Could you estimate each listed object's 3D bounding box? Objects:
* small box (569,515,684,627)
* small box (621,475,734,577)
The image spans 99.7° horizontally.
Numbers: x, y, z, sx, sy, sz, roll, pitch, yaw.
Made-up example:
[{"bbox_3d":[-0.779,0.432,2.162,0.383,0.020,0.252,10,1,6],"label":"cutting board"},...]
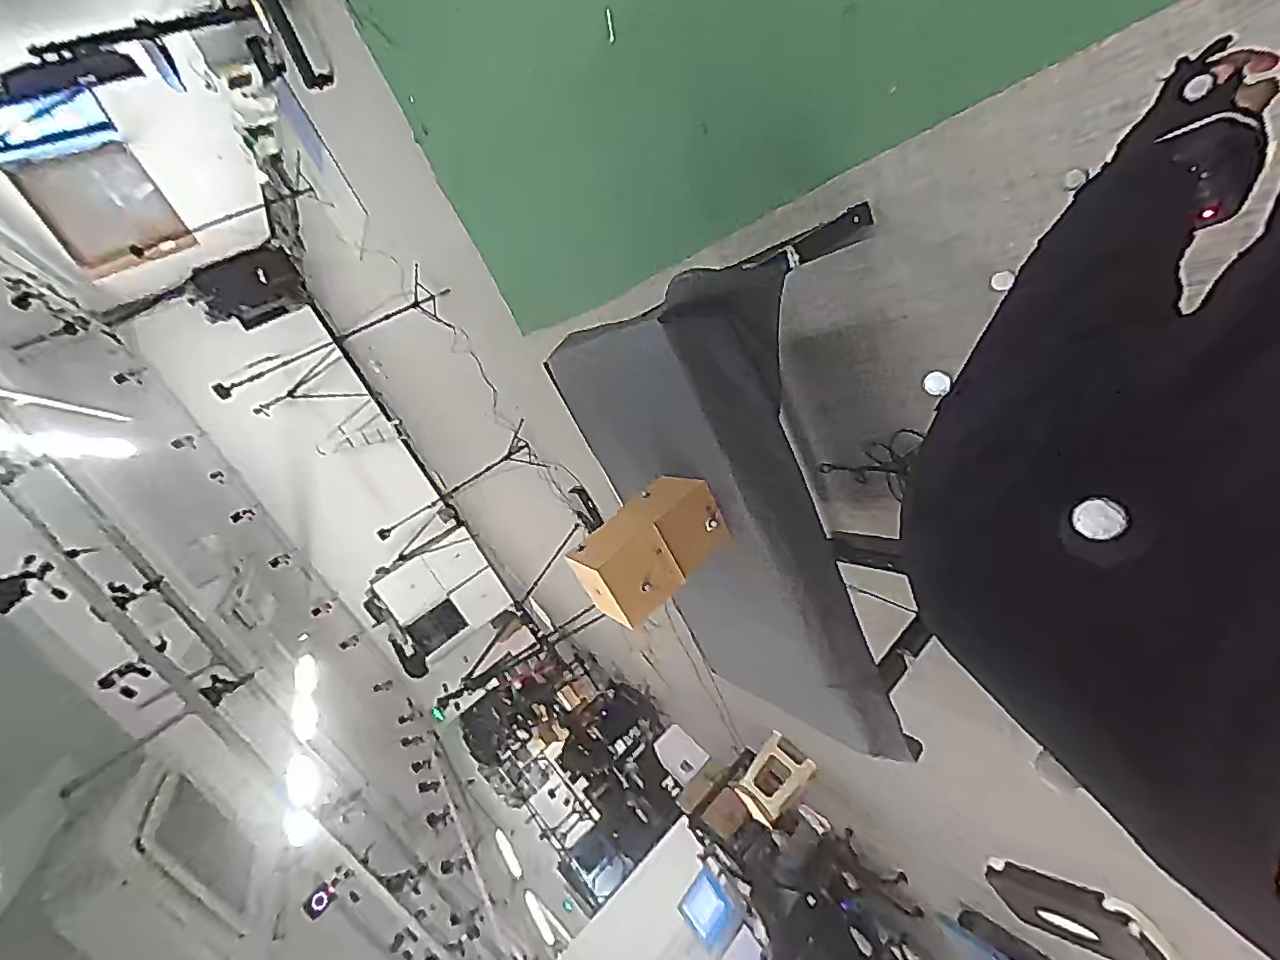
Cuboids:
[{"bbox_3d":[-0.023,0.194,1.212,0.179,0.176,0.168,7,130,60],"label":"small box"},{"bbox_3d":[0.090,0.101,1.283,0.179,0.176,0.168,6,129,58],"label":"small box"}]
